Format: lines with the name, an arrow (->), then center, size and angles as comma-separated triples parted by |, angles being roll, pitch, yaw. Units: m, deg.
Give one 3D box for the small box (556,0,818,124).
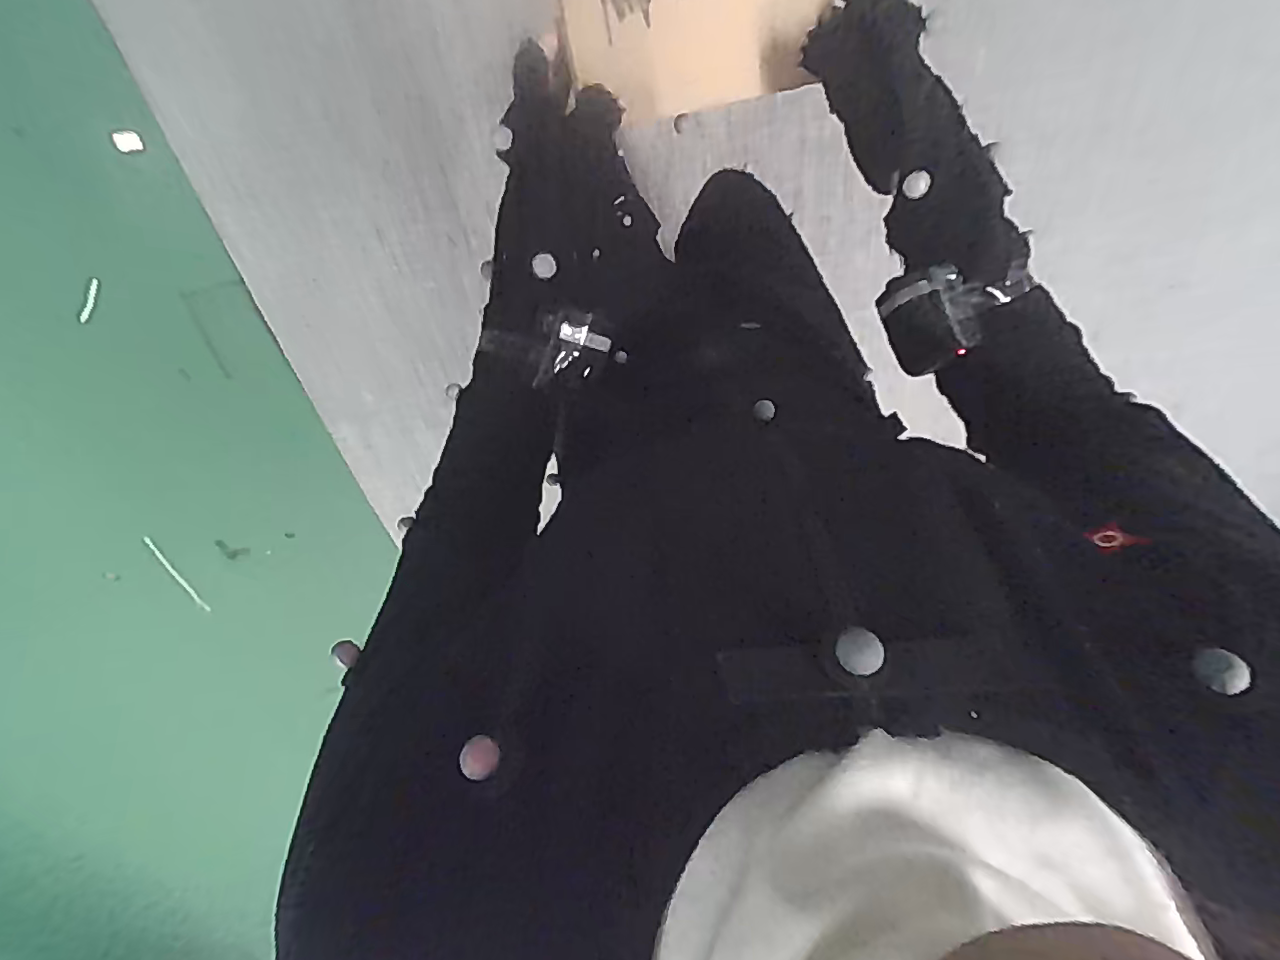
small box -> 0.023, -0.383, 0.412 | 0.179, 0.176, 0.168 | -11, 125, 1
